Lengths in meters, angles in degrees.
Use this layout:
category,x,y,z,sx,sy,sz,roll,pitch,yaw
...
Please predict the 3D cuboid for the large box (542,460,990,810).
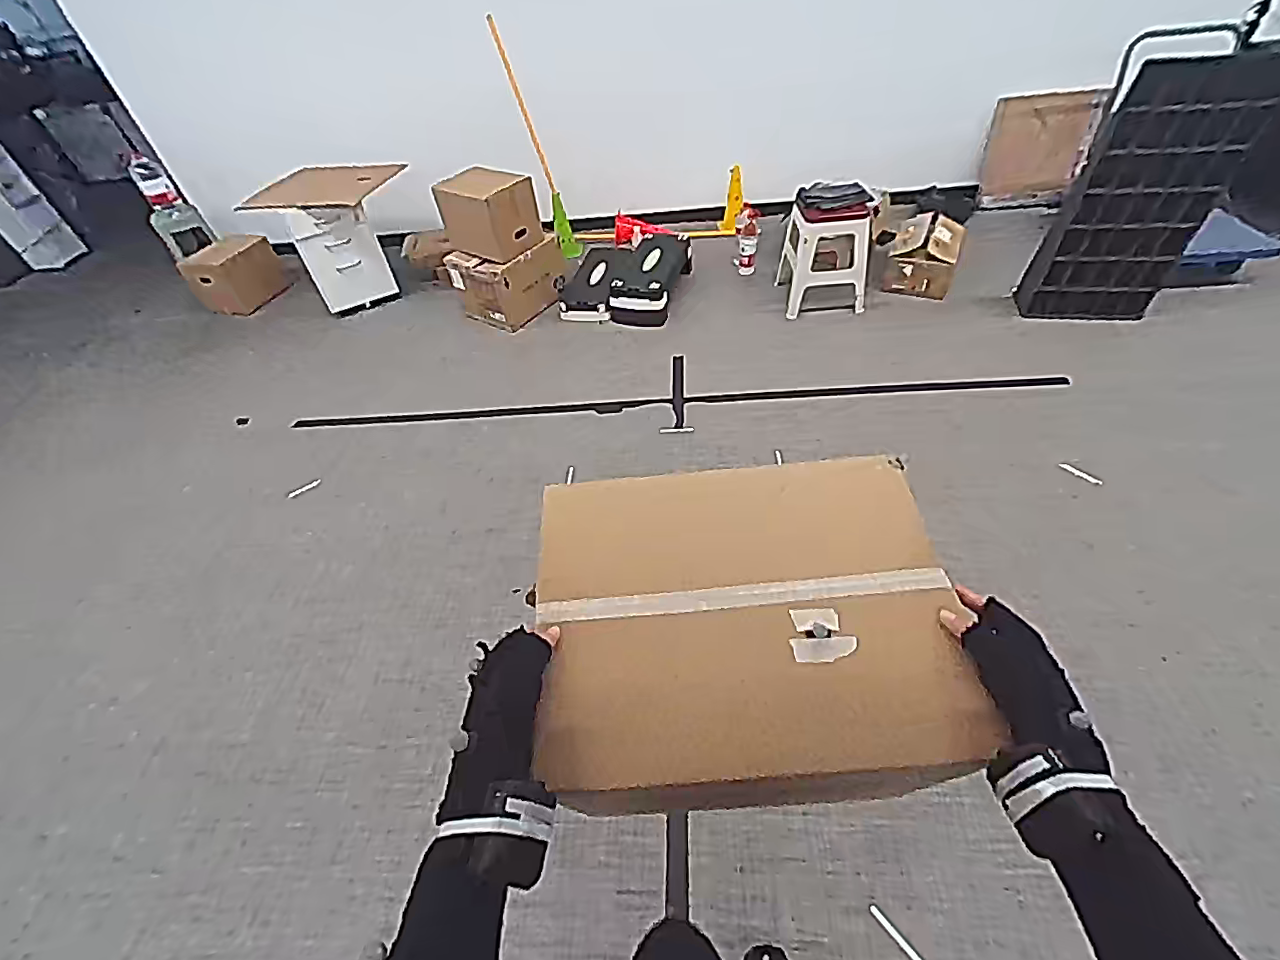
category,x,y,z,sx,sy,sz,roll,pitch,yaw
large box,0.107,0.206,0.676,0.408,0.320,0.320,-6,56,1
